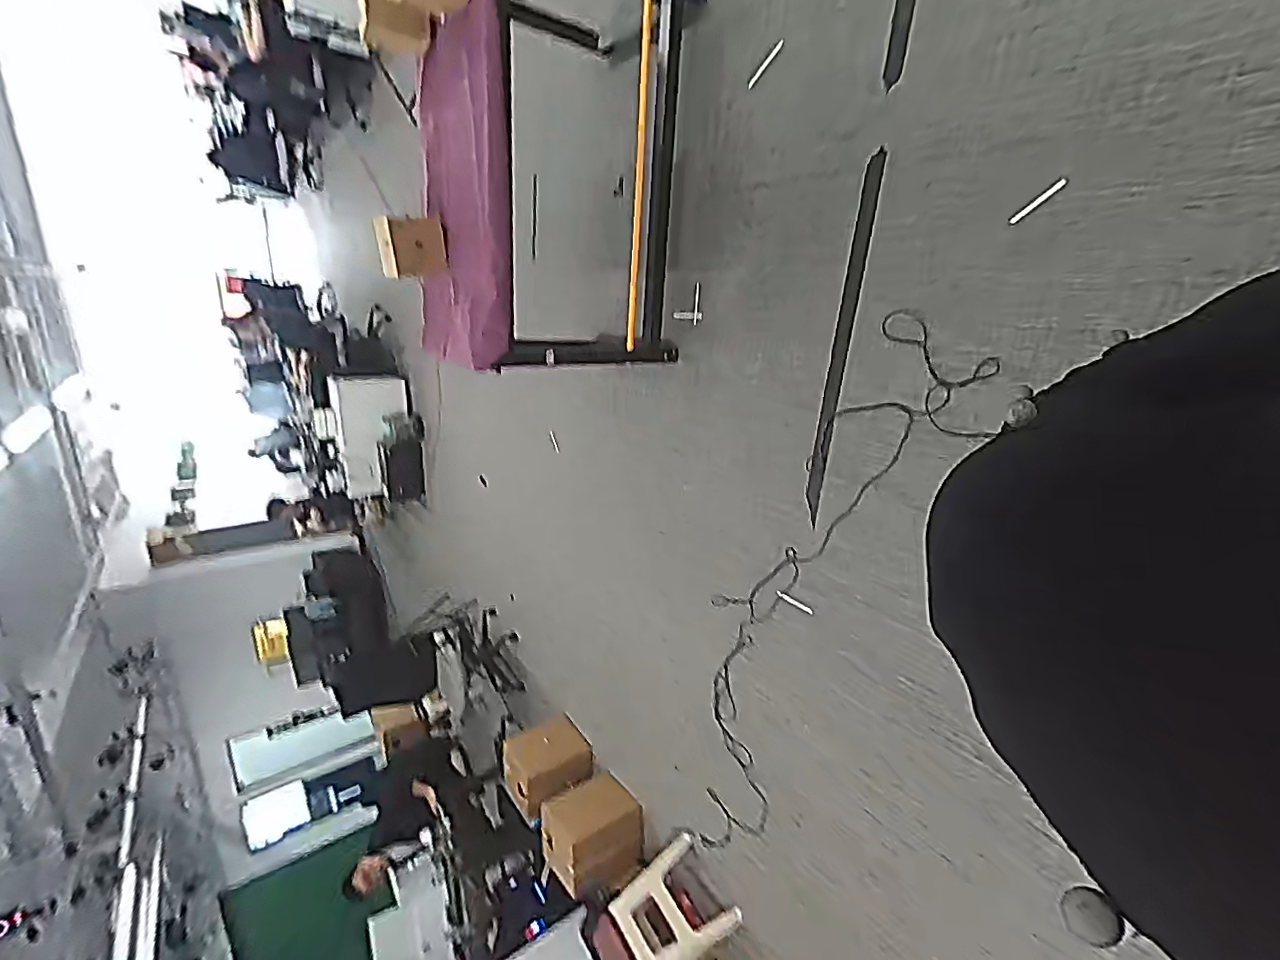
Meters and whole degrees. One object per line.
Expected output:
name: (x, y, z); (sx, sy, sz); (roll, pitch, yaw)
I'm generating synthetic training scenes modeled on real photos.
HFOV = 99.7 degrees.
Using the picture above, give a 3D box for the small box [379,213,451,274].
small box: (-0.740, -0.773, 1.772); (0.176, 0.168, 0.179); (30, 129, 48)

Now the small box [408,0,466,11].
small box: (-0.539, -1.339, 1.377); (0.168, 0.176, 0.179); (29, 121, 48)
